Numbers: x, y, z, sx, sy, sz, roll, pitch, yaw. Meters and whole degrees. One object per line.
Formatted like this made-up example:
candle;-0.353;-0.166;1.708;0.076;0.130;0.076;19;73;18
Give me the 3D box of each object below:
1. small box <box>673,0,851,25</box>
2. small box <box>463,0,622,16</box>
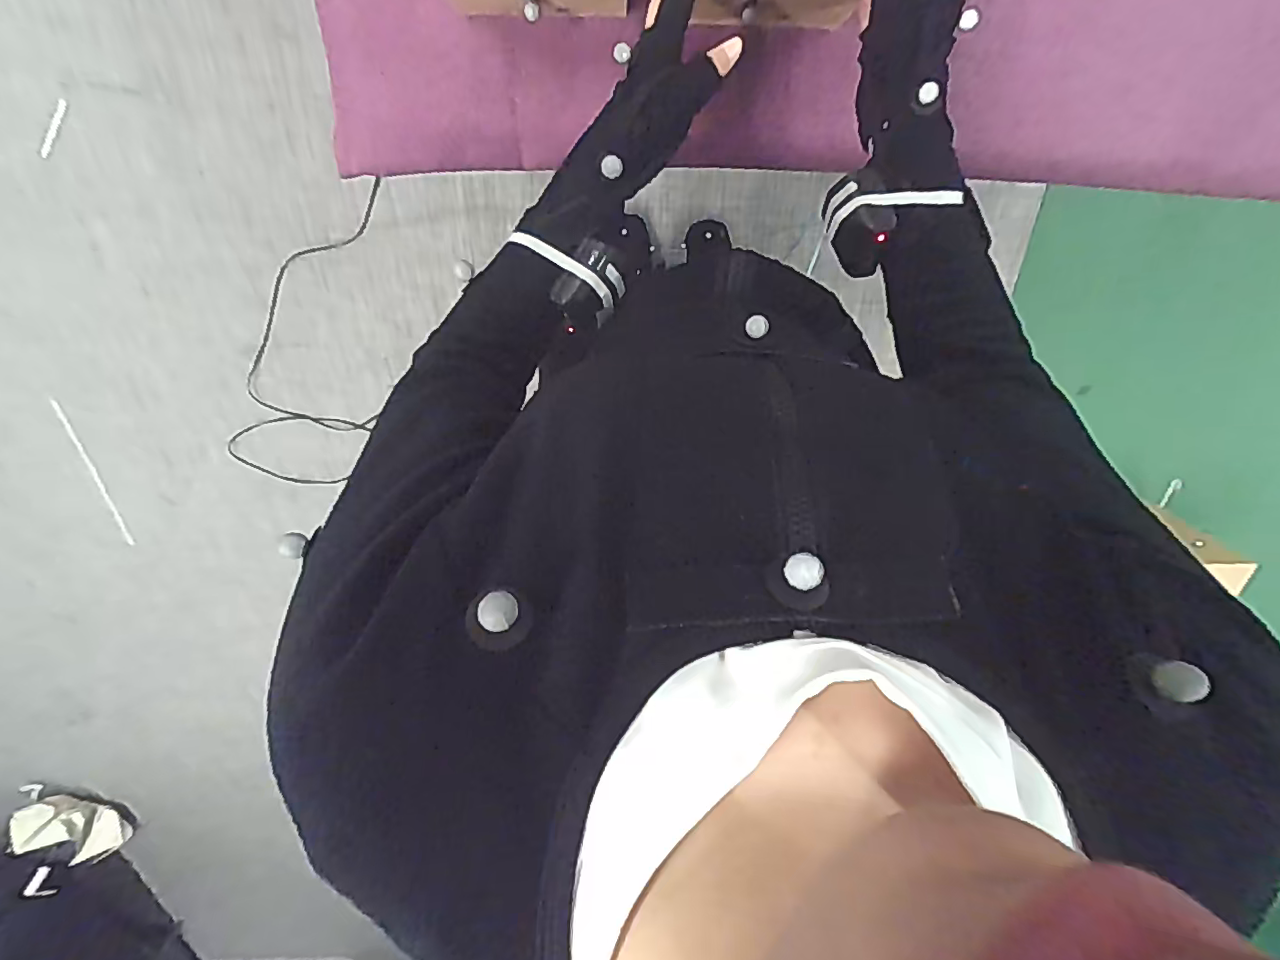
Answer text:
small box;0.111;-0.493;0.422;0.168;0.176;0.179;1;118;-1
small box;-0.095;-0.497;0.417;0.168;0.176;0.179;0;118;0
